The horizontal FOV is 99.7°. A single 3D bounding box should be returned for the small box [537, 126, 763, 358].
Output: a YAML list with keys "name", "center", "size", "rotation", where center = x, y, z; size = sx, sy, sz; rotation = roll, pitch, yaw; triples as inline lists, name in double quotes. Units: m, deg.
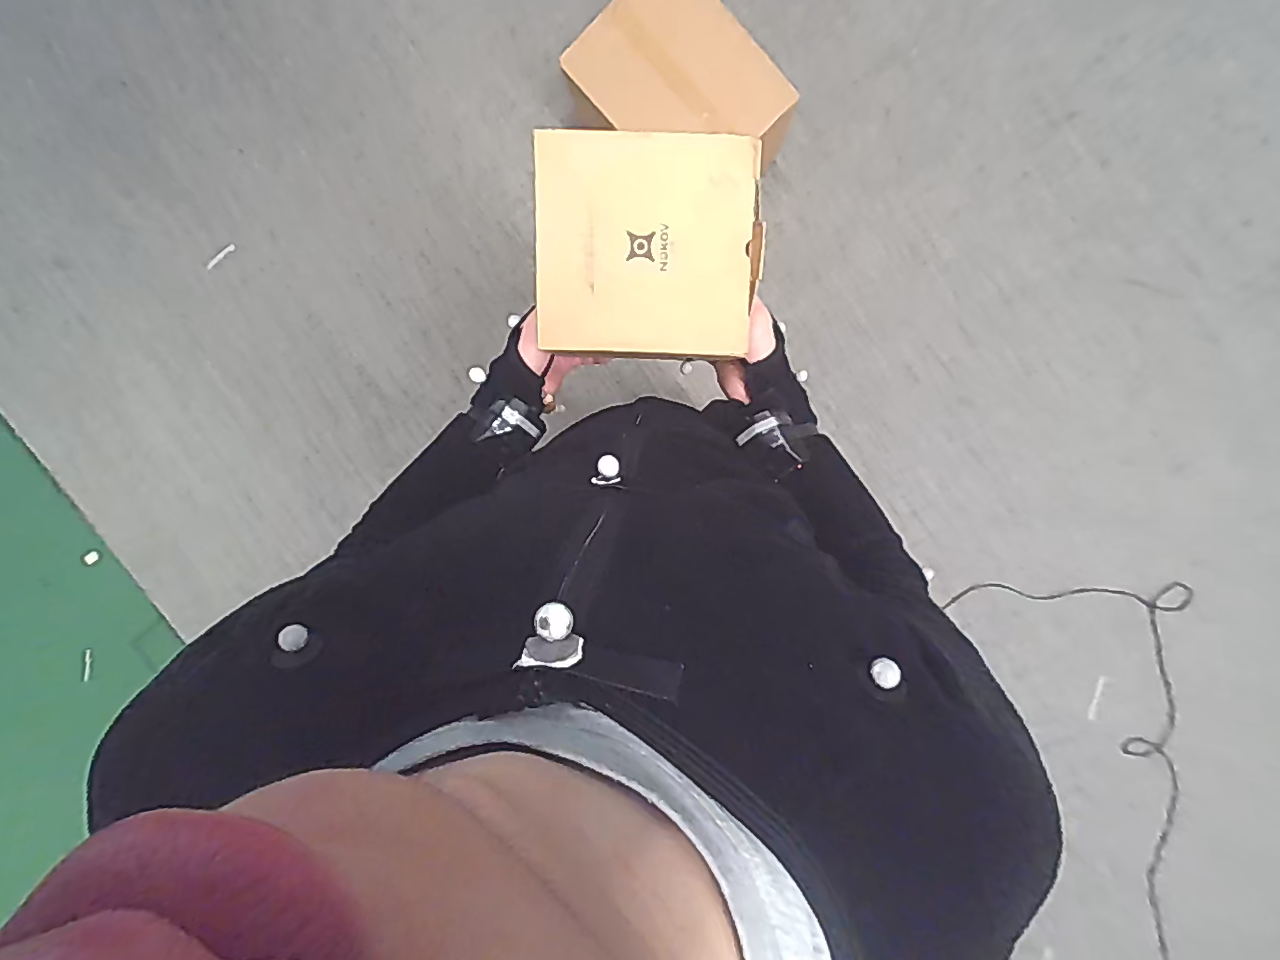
- name: "small box"
  center: [0.006, -0.202, 0.505]
  size: [0.179, 0.176, 0.168]
  rotation: [1, 101, 0]
